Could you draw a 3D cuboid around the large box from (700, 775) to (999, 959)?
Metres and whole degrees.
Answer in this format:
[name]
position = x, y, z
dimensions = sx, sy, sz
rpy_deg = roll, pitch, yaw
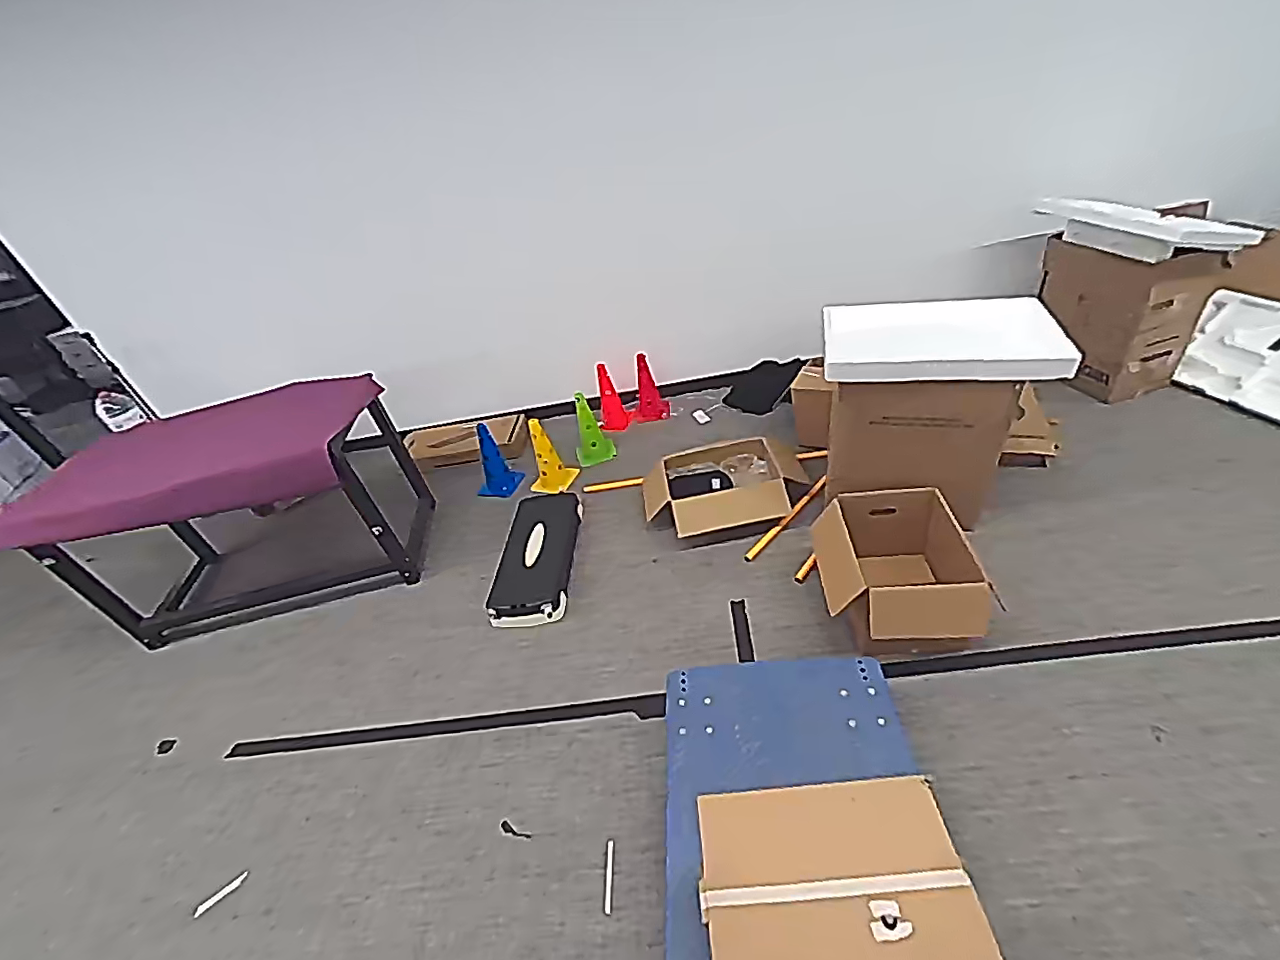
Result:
[large box]
position = 0.331, 0.765, 0.943
dimensions = 0.408, 0.320, 0.320
rpy_deg = -8, 37, 5
